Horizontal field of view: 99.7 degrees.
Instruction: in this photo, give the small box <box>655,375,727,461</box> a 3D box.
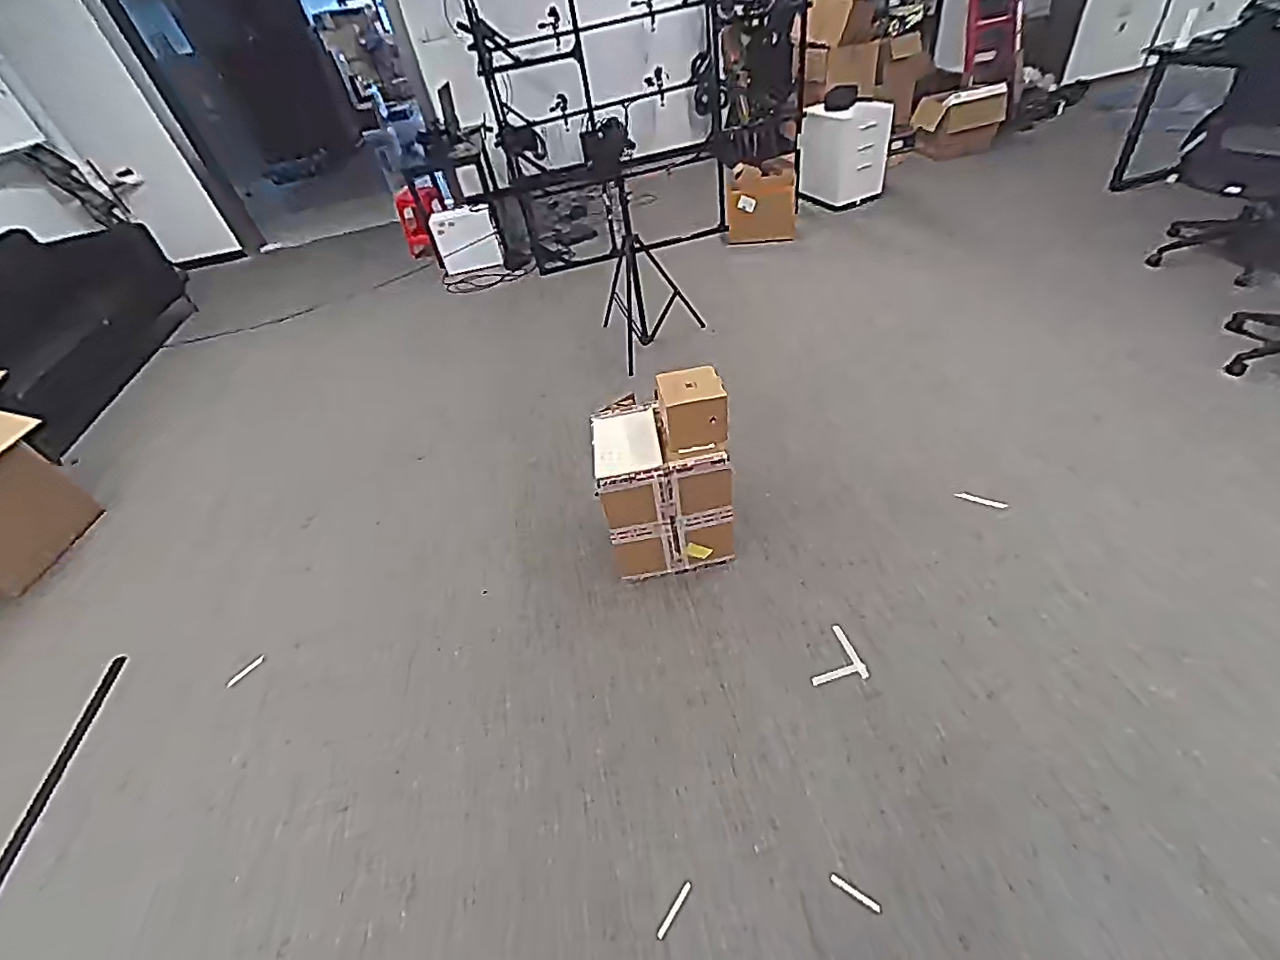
[{"bbox_3d":[0.148,-0.180,1.576,0.179,0.176,0.168,-11,44,-2],"label":"small box"}]
